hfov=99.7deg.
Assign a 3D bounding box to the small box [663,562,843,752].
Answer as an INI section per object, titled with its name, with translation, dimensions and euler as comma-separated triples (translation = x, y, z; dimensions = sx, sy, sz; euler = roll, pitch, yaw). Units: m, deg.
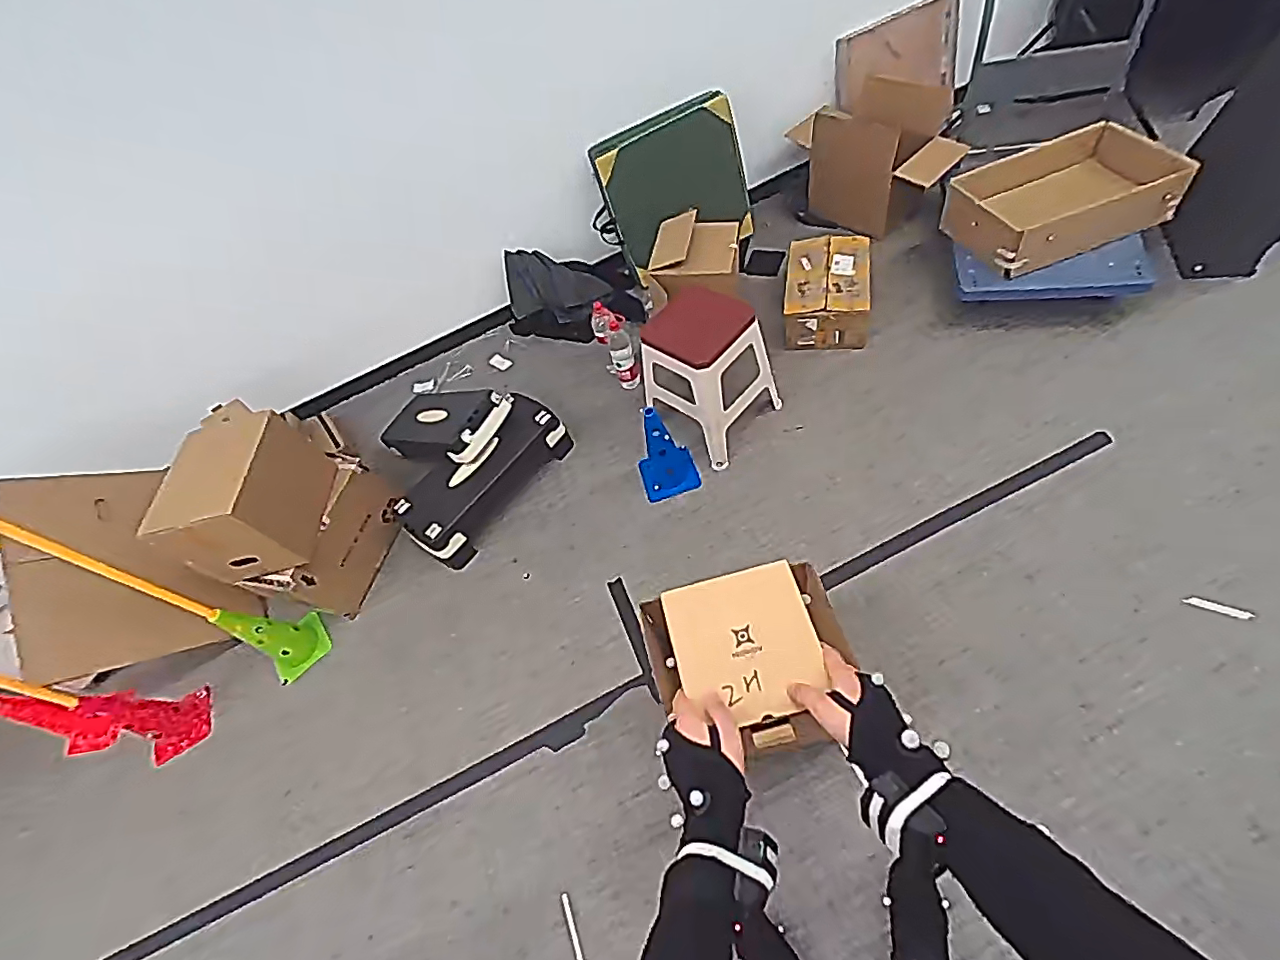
[small box]
translation = 0.135, 0.231, 0.689
dimensions = 0.168, 0.176, 0.179
euler = -16, 59, 3
